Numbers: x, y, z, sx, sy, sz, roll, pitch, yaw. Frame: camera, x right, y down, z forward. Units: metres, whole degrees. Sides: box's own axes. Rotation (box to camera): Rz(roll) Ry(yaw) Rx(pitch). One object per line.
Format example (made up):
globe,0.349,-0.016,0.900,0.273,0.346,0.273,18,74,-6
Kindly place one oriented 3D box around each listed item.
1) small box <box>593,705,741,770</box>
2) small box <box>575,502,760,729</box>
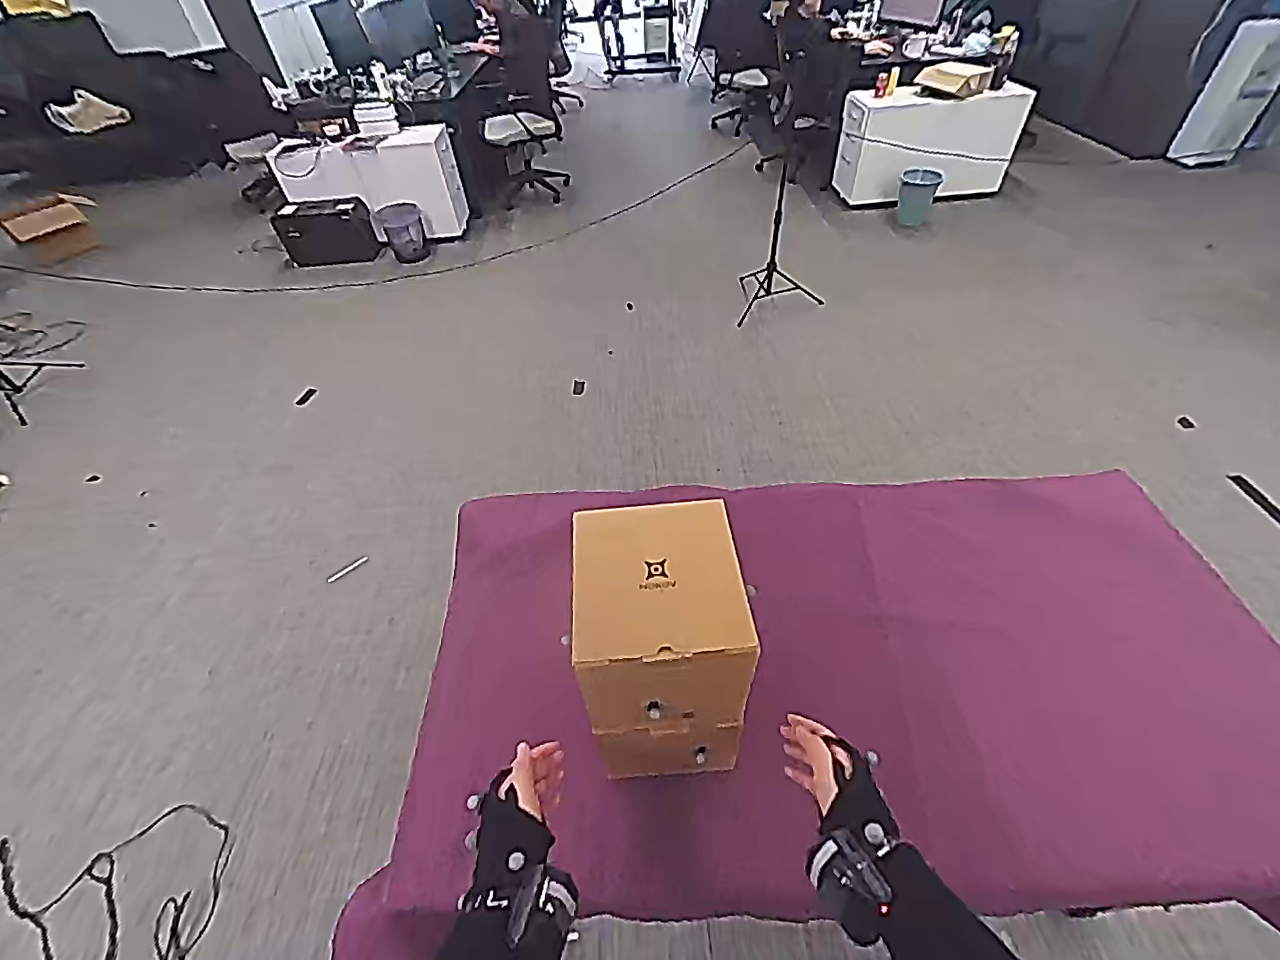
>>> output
small box,0.032,0.261,0.700,0.168,0.176,0.179,-4,46,0
small box,0.020,0.147,0.586,0.168,0.176,0.179,-5,48,-2
